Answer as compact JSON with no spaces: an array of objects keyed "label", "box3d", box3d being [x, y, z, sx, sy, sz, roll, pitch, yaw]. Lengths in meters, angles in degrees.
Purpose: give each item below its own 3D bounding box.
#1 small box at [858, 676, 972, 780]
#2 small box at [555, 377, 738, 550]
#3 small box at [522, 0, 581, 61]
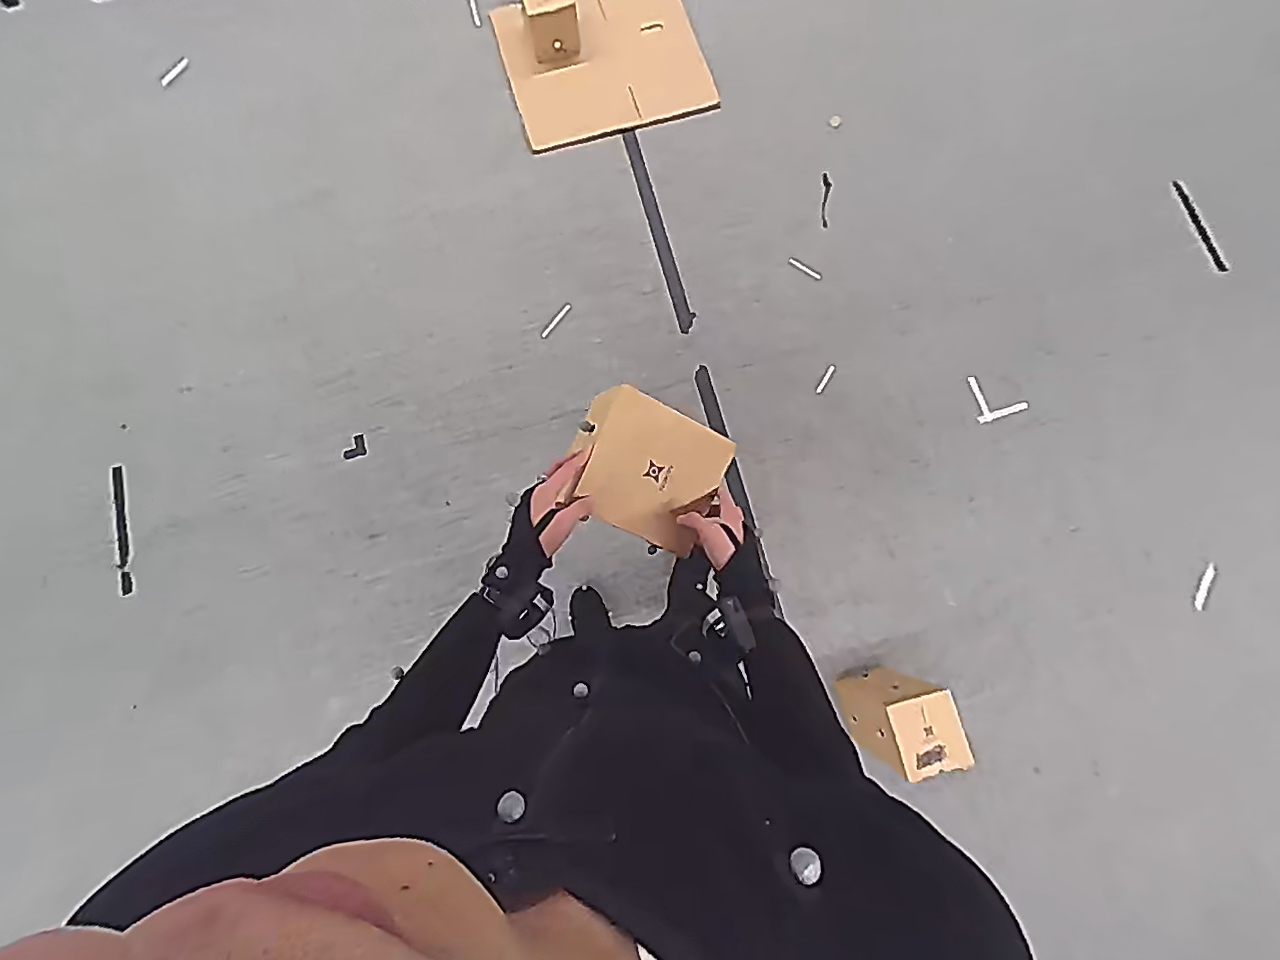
[{"label":"small box","box3d":[0.674,0.608,1.346,0.168,0.176,0.179,-14,80,-4]},{"label":"small box","box3d":[-0.002,-0.022,0.751,0.179,0.176,0.168,25,87,-18]},{"label":"small box","box3d":[-0.309,-1.612,1.872,0.168,0.176,0.179,-17,81,-3]}]
